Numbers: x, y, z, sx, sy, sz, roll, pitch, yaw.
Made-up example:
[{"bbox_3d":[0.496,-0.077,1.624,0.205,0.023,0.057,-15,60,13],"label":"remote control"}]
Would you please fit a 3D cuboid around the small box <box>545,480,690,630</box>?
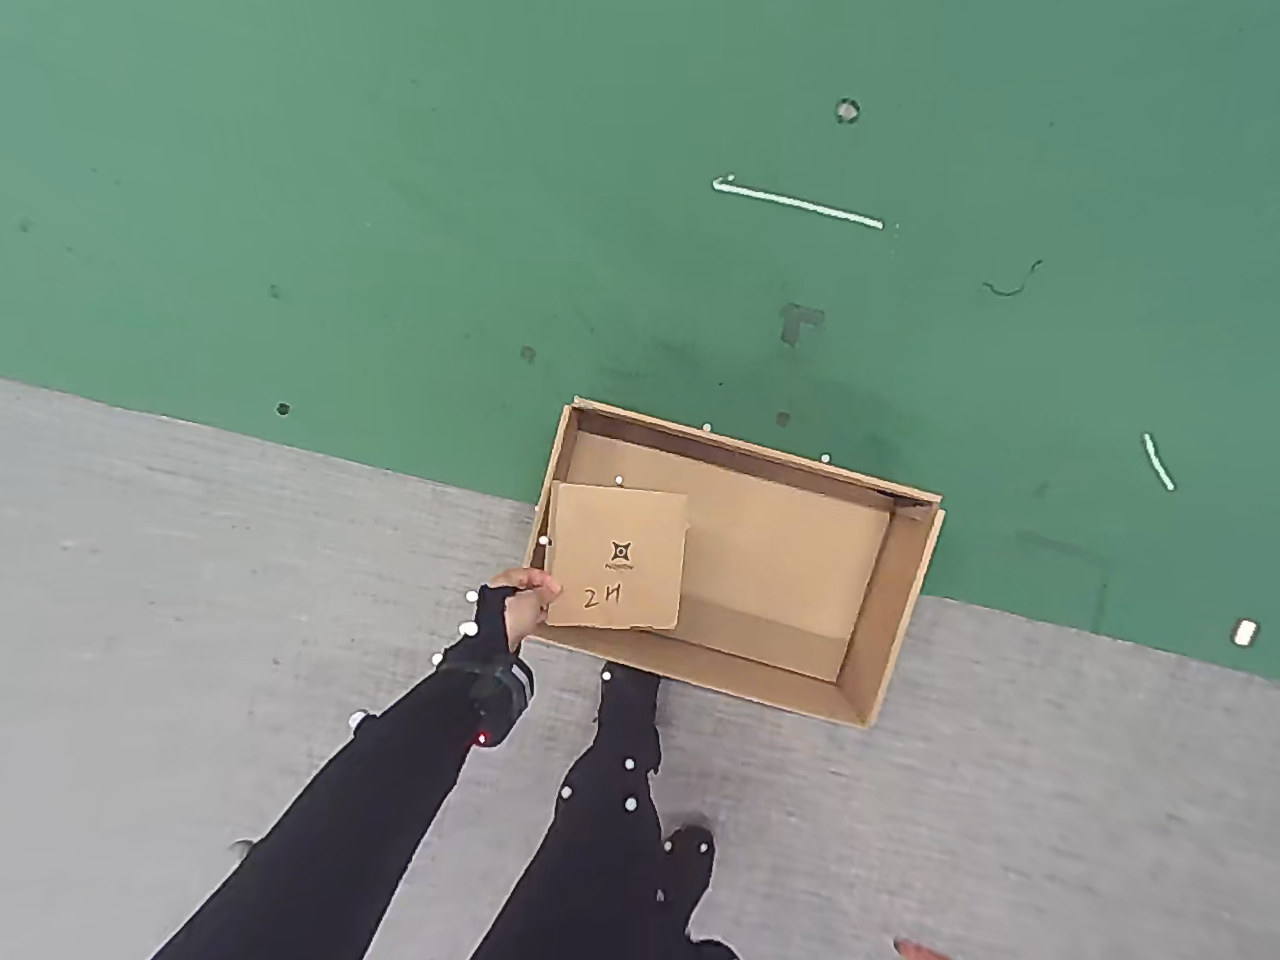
[{"bbox_3d":[-0.040,0.094,0.745,0.168,0.176,0.179,6,90,-11],"label":"small box"}]
